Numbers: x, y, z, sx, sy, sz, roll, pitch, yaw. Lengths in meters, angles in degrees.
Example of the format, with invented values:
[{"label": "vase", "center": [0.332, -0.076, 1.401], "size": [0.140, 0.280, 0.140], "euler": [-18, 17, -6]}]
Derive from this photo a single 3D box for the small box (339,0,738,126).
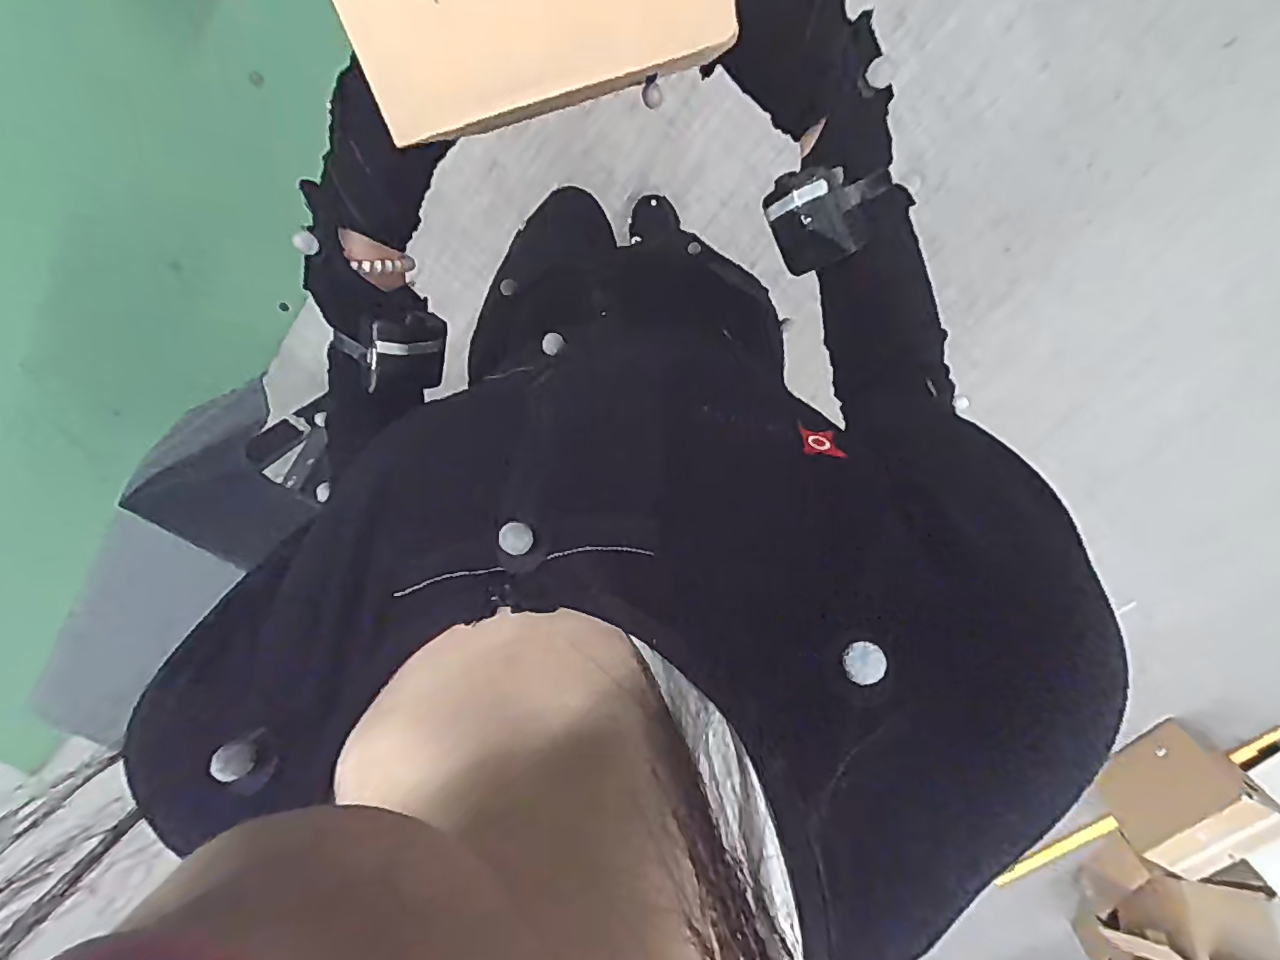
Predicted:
[{"label": "small box", "center": [-0.057, -0.302, 0.277], "size": [0.179, 0.176, 0.168], "euler": [-11, 123, 8]}]
